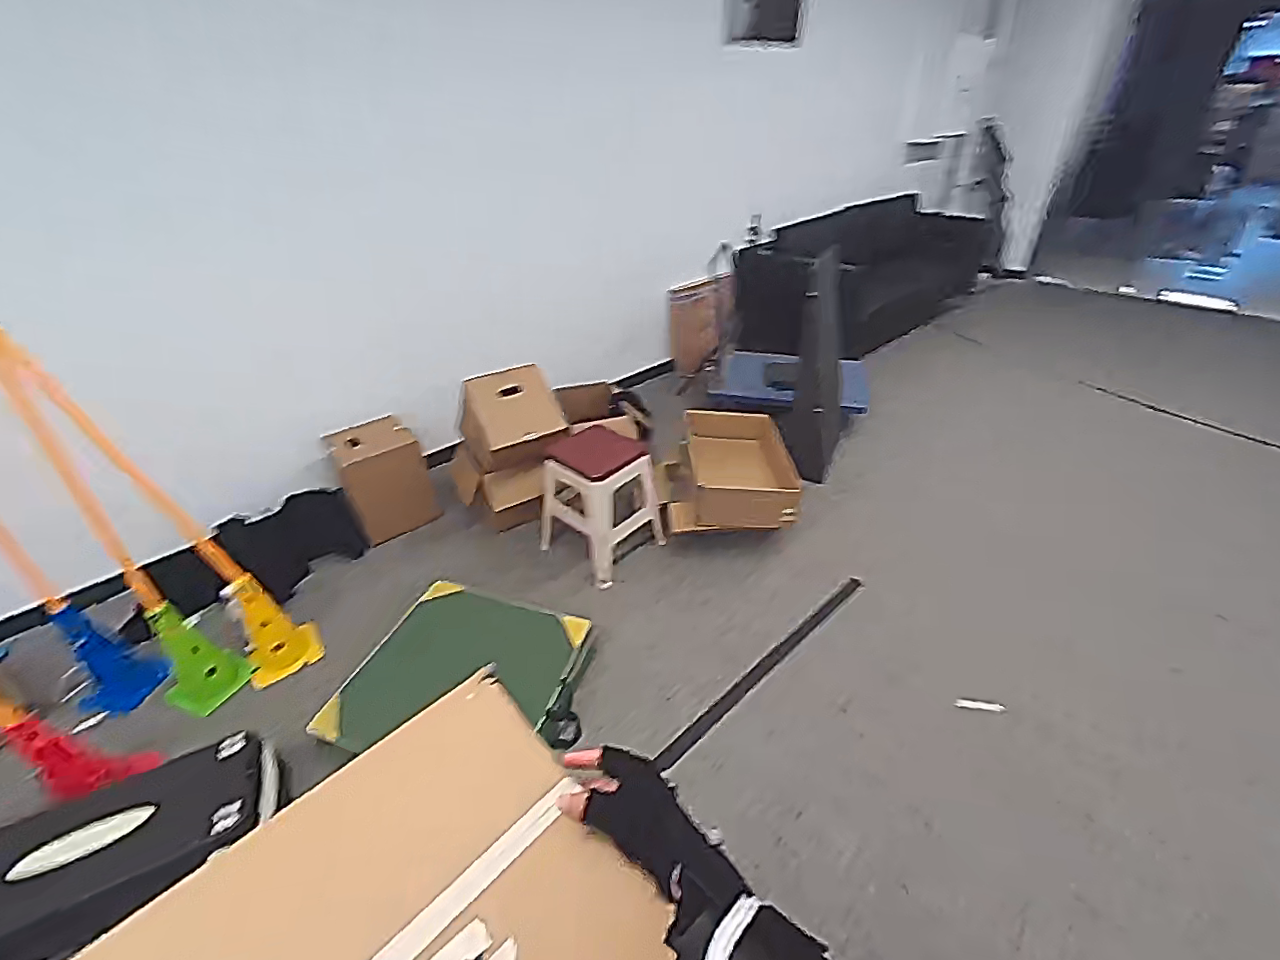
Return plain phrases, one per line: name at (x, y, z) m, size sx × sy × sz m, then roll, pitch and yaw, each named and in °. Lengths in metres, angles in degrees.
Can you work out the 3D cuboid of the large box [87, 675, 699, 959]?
large box at (-0.207, 0.480, 0.488) m, size 0.408 × 0.320 × 0.320 m, roll -29°, pitch 52°, yaw -35°
